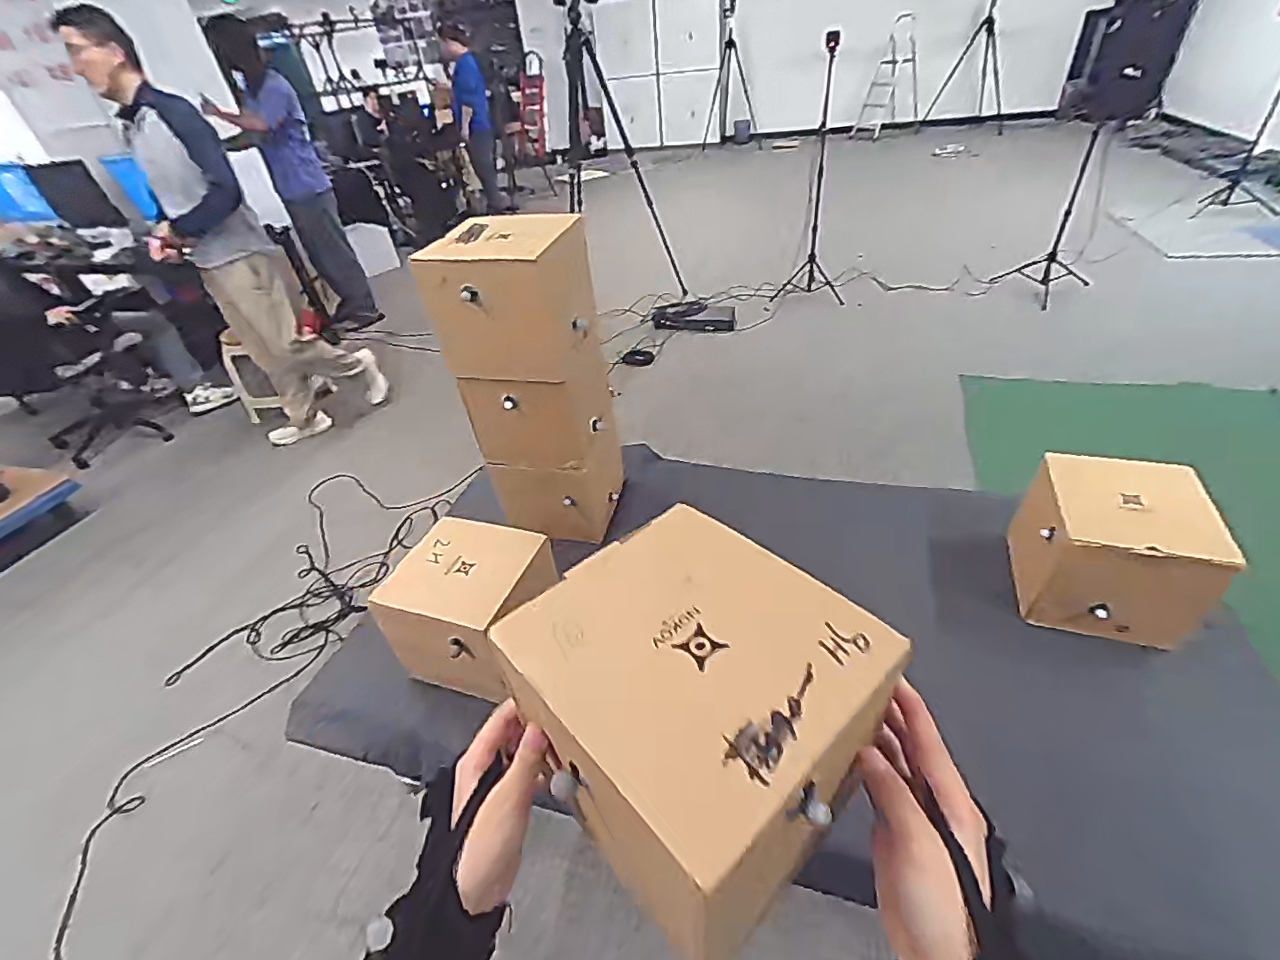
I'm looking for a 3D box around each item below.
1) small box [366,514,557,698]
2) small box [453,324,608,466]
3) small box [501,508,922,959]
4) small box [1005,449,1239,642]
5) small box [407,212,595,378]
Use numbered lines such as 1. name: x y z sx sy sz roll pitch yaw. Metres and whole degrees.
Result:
1. small box: -0.227 0.174 0.749 0.179 0.176 0.168 8 39 18
2. small box: -0.161 -0.137 0.863 0.179 0.176 0.168 5 44 12
3. small box: 0.039 0.153 0.347 0.168 0.176 0.179 -31 44 -30
4. small box: 0.618 0.084 0.728 0.168 0.176 0.179 8 44 19
5. small box: -0.176 -0.255 0.748 0.179 0.176 0.168 6 44 14
